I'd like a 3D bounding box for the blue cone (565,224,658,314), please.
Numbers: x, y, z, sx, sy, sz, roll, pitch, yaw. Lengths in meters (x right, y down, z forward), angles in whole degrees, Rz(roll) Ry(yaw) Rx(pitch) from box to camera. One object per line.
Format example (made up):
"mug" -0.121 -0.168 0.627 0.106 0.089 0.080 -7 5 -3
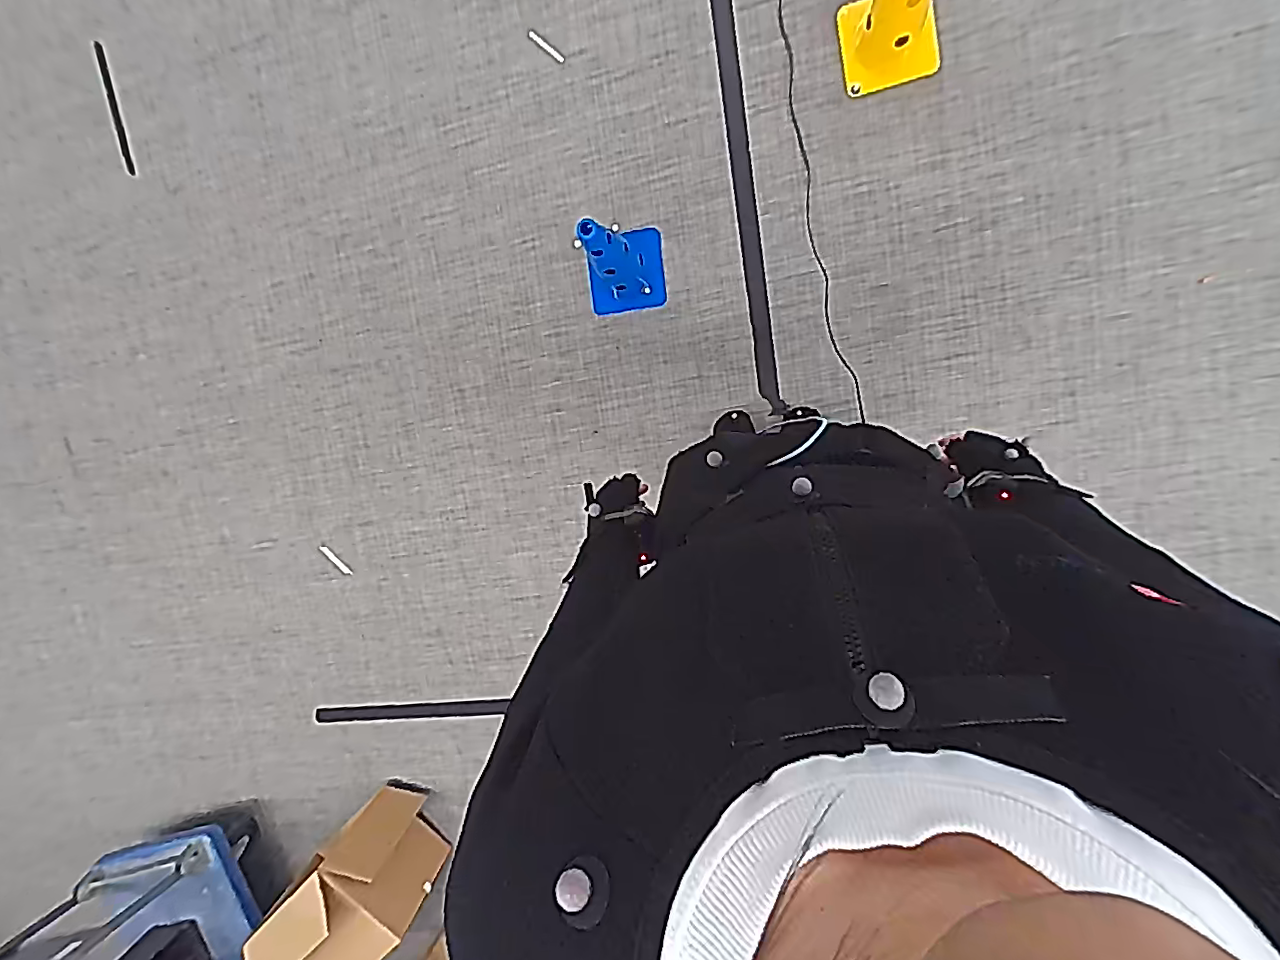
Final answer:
"blue cone" -0.084 -0.521 1.259 0.192 0.380 0.193 -3 96 13
